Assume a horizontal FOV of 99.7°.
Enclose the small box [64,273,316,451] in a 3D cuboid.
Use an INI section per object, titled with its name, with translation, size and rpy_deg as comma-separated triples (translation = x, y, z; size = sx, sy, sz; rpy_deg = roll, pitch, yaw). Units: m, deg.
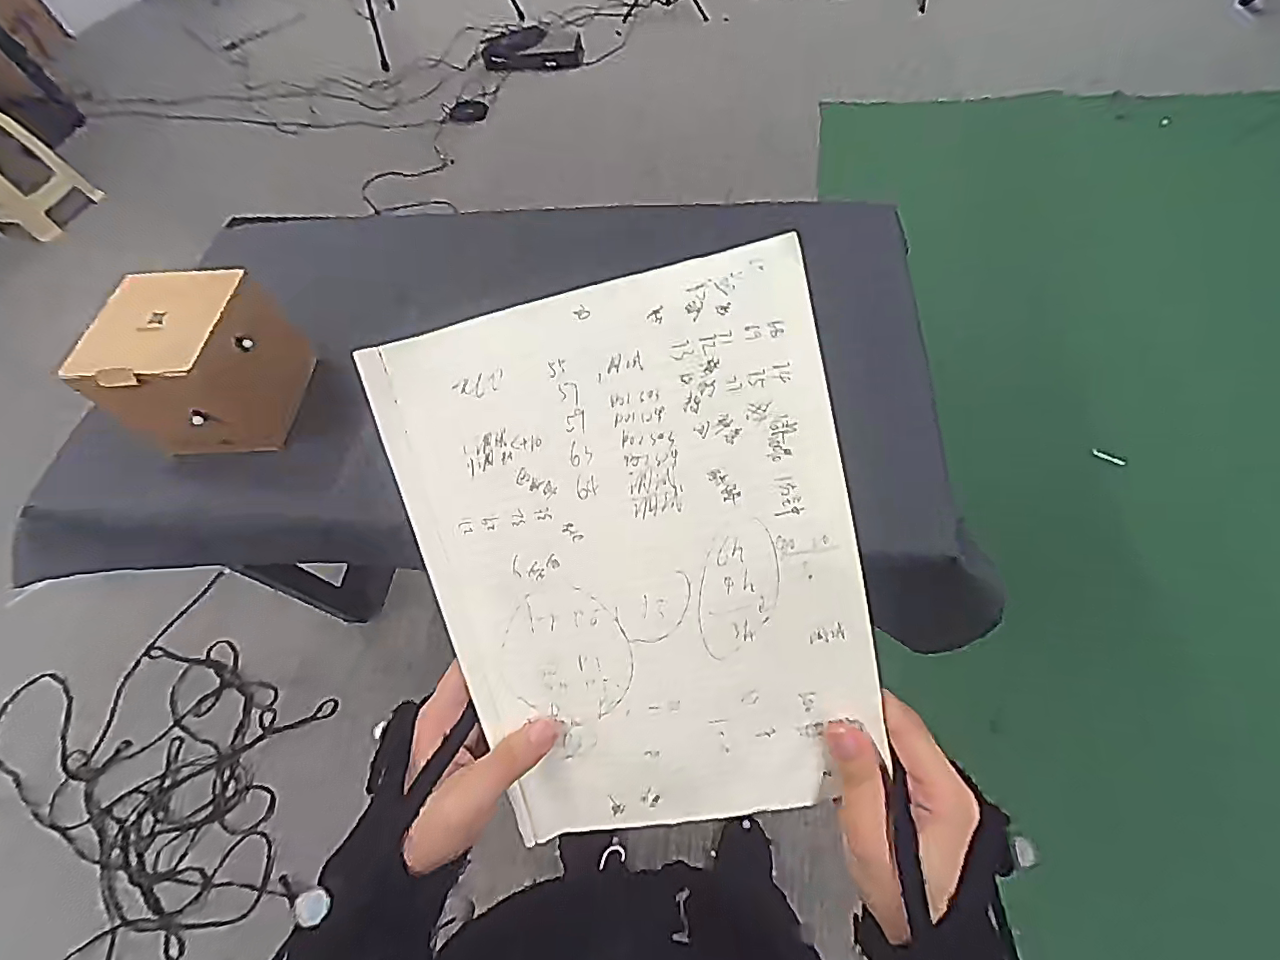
[small box]
translation = -0.579, -0.150, 0.730
size = 0.168, 0.176, 0.179
rpy_deg = -1, 59, 4
